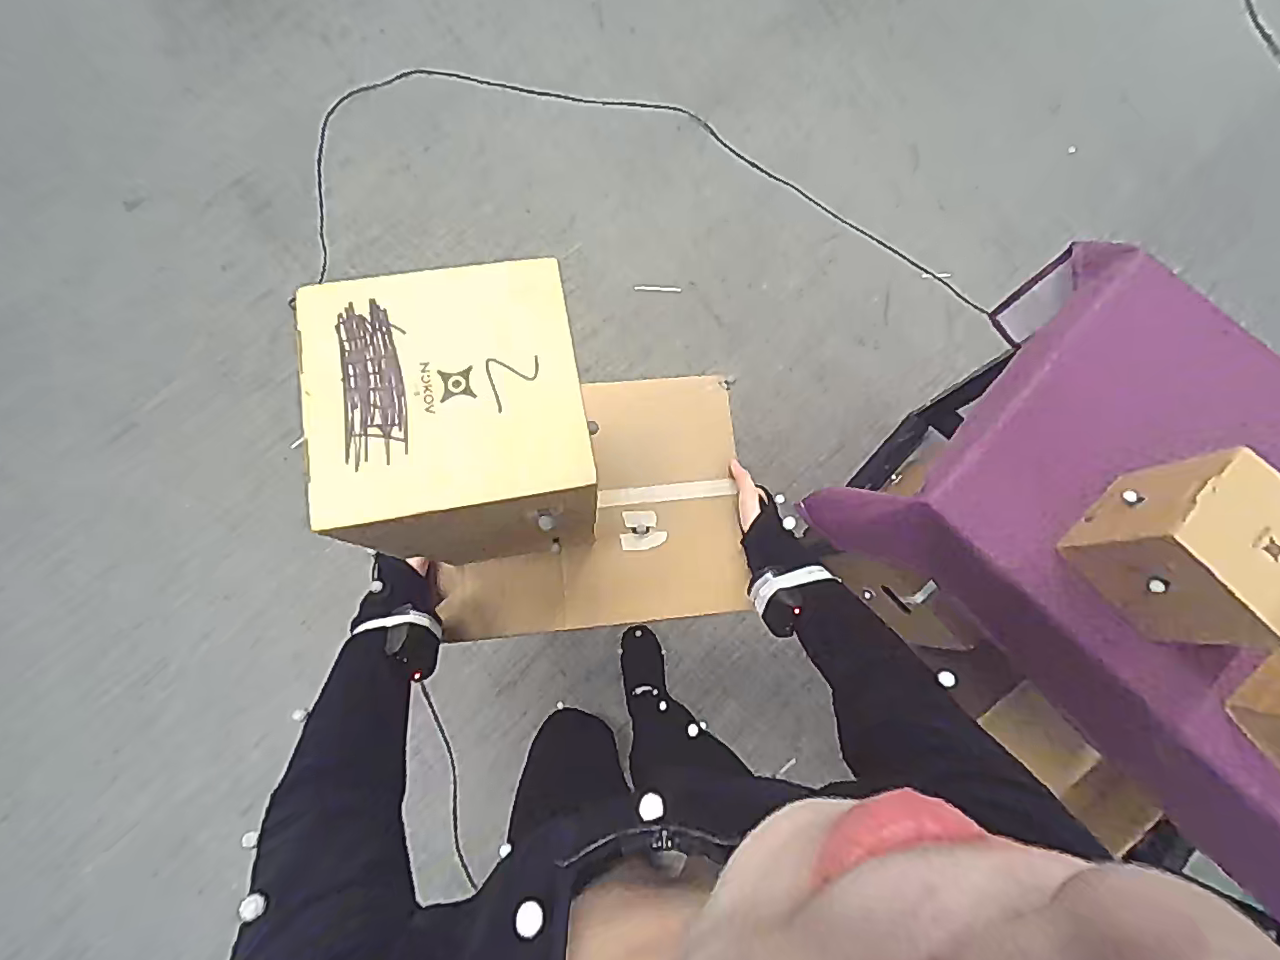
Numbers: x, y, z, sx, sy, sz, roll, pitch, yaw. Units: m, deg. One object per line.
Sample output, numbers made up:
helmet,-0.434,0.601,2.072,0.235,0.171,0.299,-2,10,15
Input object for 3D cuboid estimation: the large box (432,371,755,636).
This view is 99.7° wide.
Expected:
large box,-0.079,0.048,0.836,0.408,0.320,0.320,-5,80,-6

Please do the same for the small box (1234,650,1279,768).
small box,0.920,0.304,0.664,0.179,0.176,0.168,-36,81,-9

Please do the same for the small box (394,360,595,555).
small box,-0.147,-0.014,0.593,0.179,0.176,0.168,-8,78,-5

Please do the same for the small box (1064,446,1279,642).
small box,0.717,0.089,0.700,0.168,0.176,0.179,-41,82,-9
